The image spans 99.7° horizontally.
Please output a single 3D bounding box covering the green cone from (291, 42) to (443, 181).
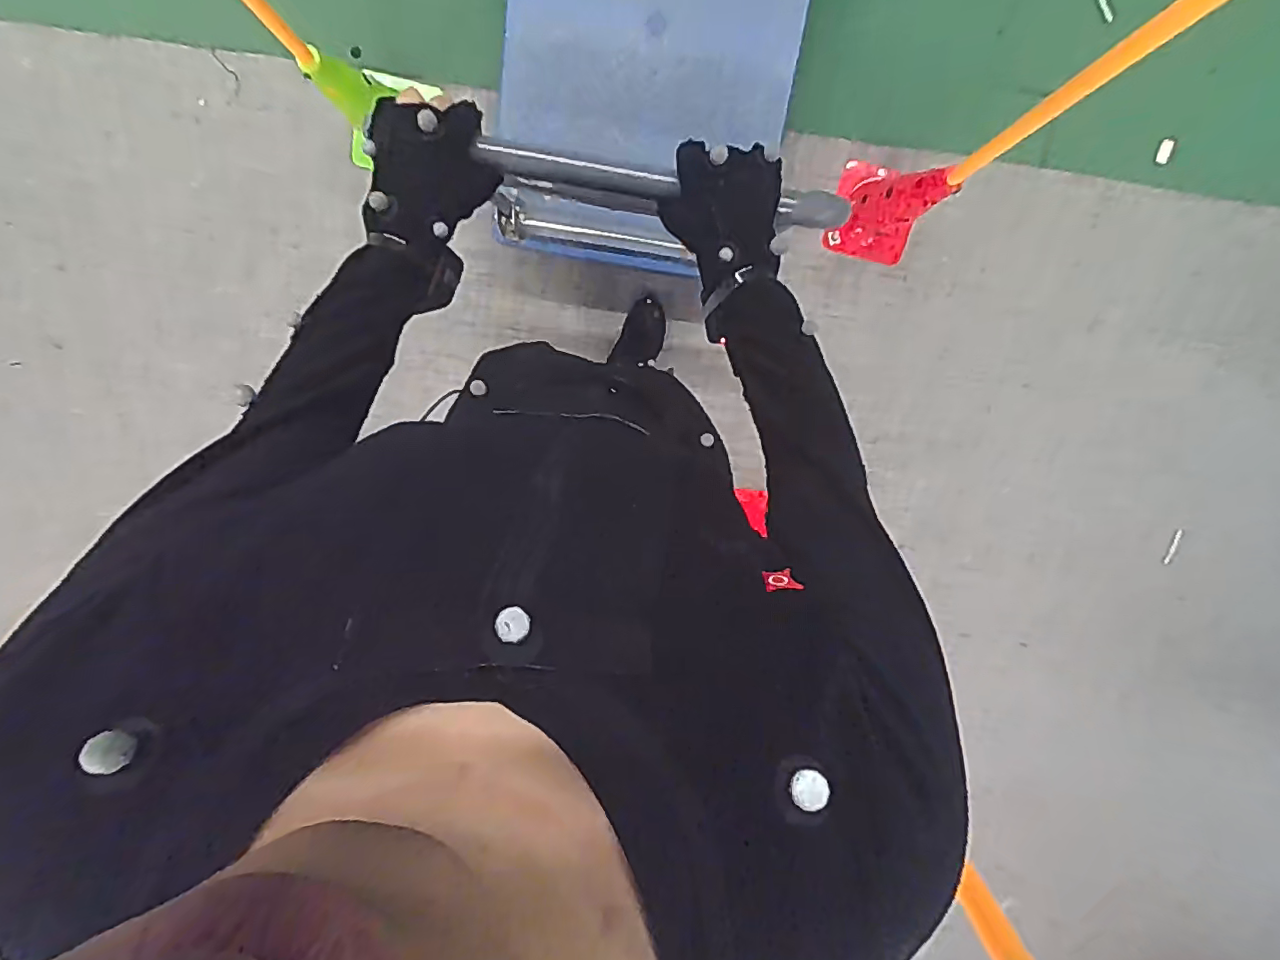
[{"bbox_3d":[-0.564,-0.773,1.088,0.202,0.368,0.200,12,106,-2],"label":"green cone"}]
